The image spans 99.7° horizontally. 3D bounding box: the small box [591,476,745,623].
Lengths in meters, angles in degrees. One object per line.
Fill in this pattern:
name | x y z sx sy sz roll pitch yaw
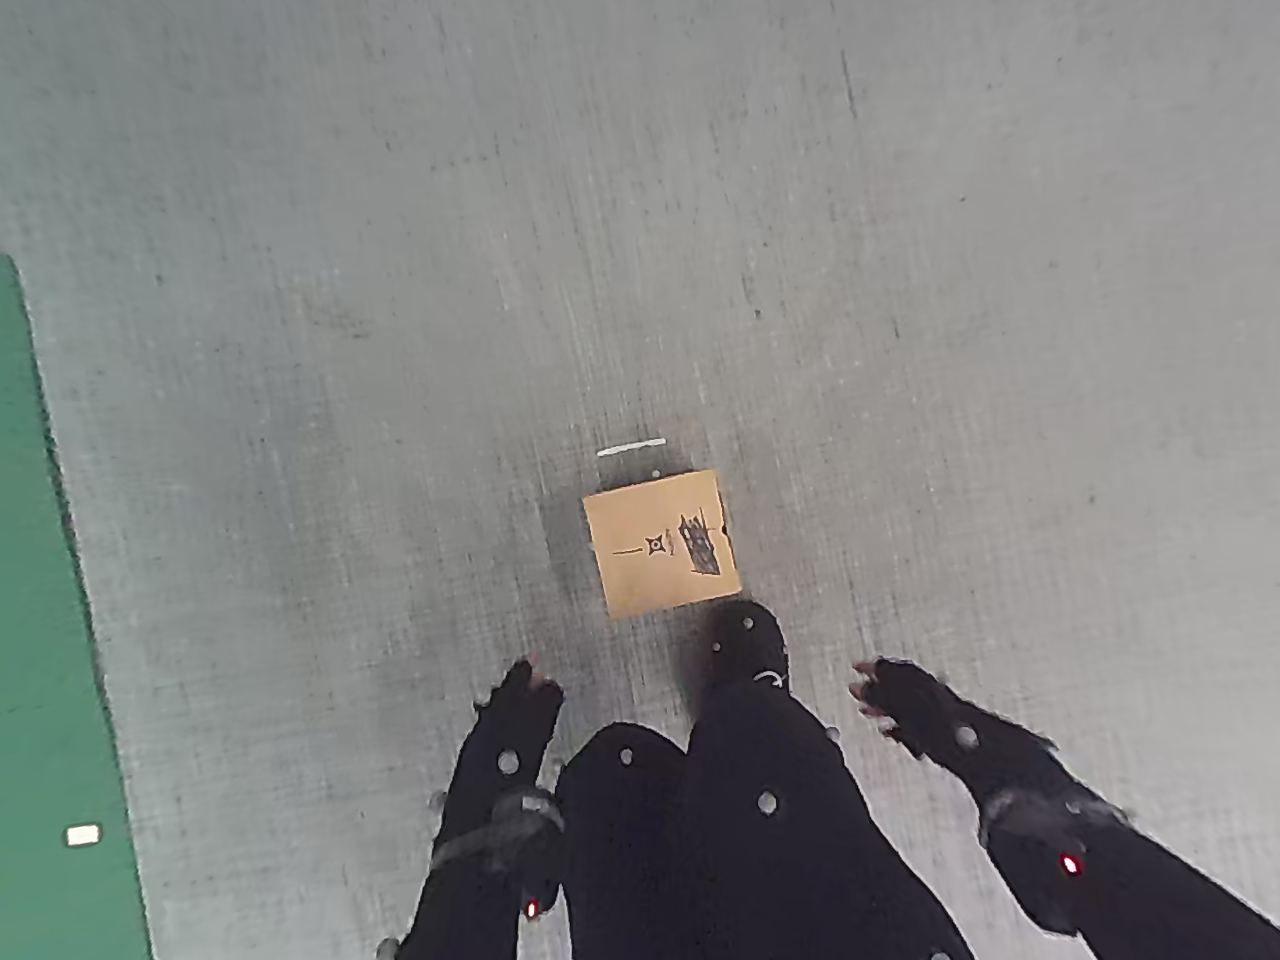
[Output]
small box | 0.036 0.089 0.780 0.179 0.176 0.168 -12 89 1
